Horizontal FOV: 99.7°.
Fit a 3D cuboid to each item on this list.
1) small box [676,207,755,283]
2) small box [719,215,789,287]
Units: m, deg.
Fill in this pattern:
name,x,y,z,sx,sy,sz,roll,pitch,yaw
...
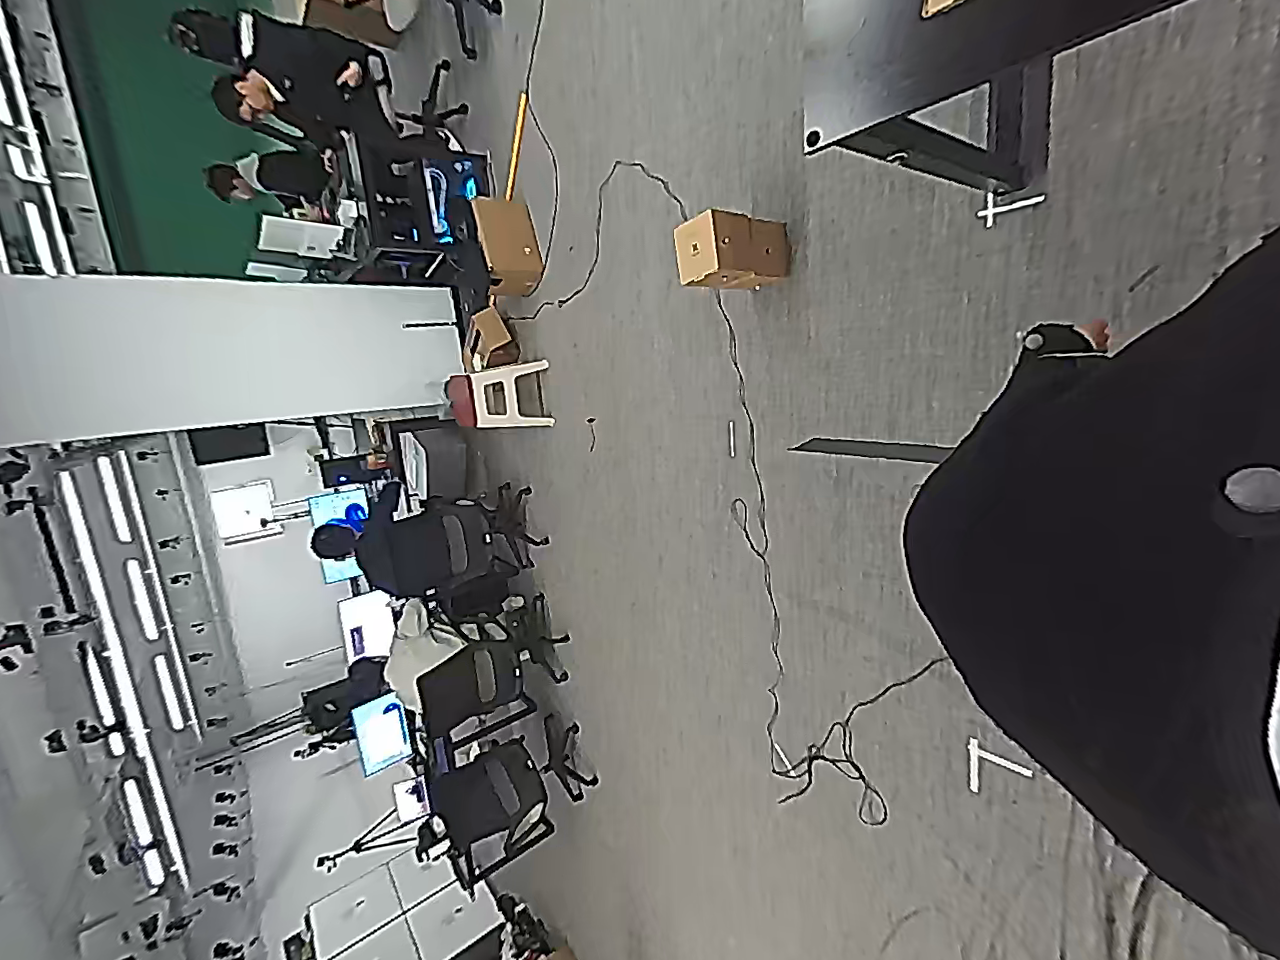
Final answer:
name,x,y,z,sx,sy,sz,roll,pitch,yaw
small box,0.236,-0.714,1.662,0.168,0.176,0.179,0,100,53
small box,0.365,-0.737,1.758,0.168,0.176,0.179,5,105,53
